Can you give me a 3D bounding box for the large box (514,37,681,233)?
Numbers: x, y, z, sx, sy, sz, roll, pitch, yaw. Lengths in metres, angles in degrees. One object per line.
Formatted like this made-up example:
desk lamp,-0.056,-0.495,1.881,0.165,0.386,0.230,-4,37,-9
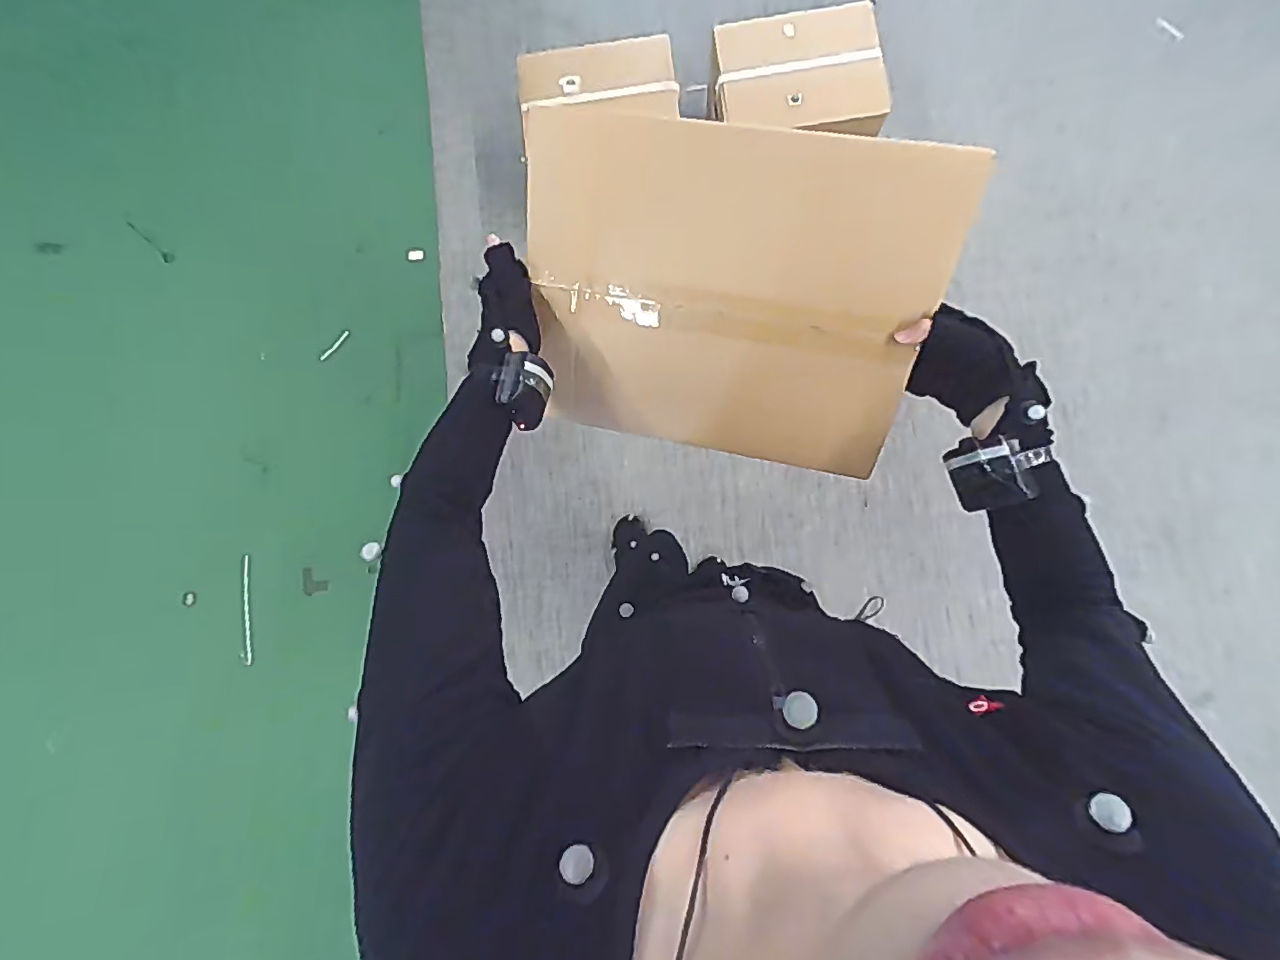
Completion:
large box,-0.103,-0.946,1.524,0.408,0.320,0.320,-7,83,3
